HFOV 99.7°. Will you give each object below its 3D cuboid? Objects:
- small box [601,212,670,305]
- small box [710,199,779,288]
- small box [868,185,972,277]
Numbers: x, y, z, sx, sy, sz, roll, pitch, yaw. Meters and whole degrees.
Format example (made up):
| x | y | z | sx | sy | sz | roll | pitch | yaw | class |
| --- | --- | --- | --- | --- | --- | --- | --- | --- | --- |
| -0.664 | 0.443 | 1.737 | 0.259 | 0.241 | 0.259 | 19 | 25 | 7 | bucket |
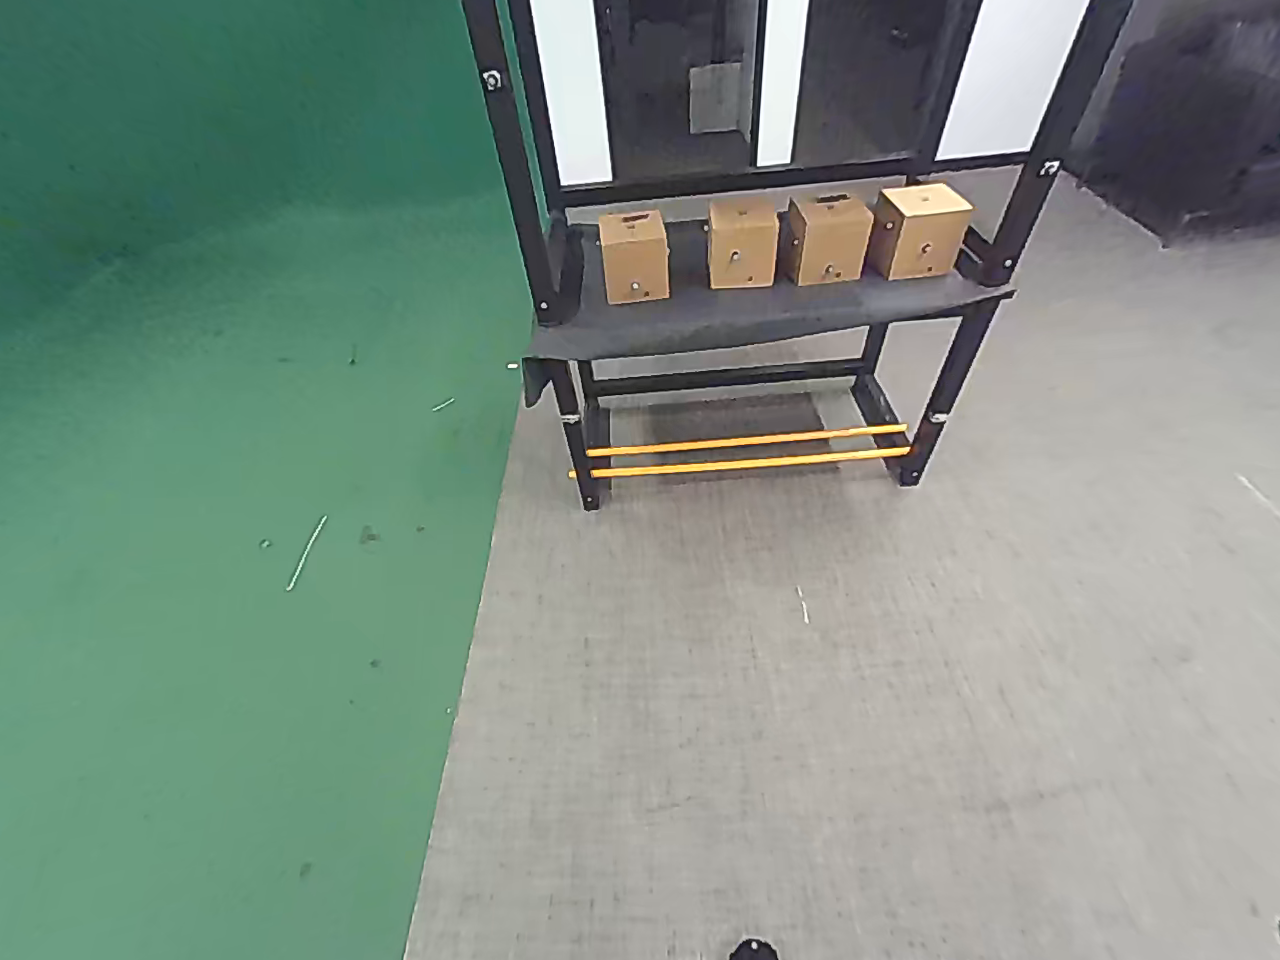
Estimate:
| x | y | z | sx | sy | sz | roll | pitch | yaw | class |
| --- | --- | --- | --- | --- | --- | --- | --- | --- | --- |
| -0.012 | -0.591 | 1.443 | 0.168 | 0.176 | 0.179 | -7 | 48 | 0 | small box |
| 0.275 | -0.630 | 1.452 | 0.168 | 0.176 | 0.179 | -2 | 47 | 5 | small box |
| 0.721 | -0.643 | 1.411 | 0.168 | 0.176 | 0.179 | -5 | 47 | 1 | small box |
